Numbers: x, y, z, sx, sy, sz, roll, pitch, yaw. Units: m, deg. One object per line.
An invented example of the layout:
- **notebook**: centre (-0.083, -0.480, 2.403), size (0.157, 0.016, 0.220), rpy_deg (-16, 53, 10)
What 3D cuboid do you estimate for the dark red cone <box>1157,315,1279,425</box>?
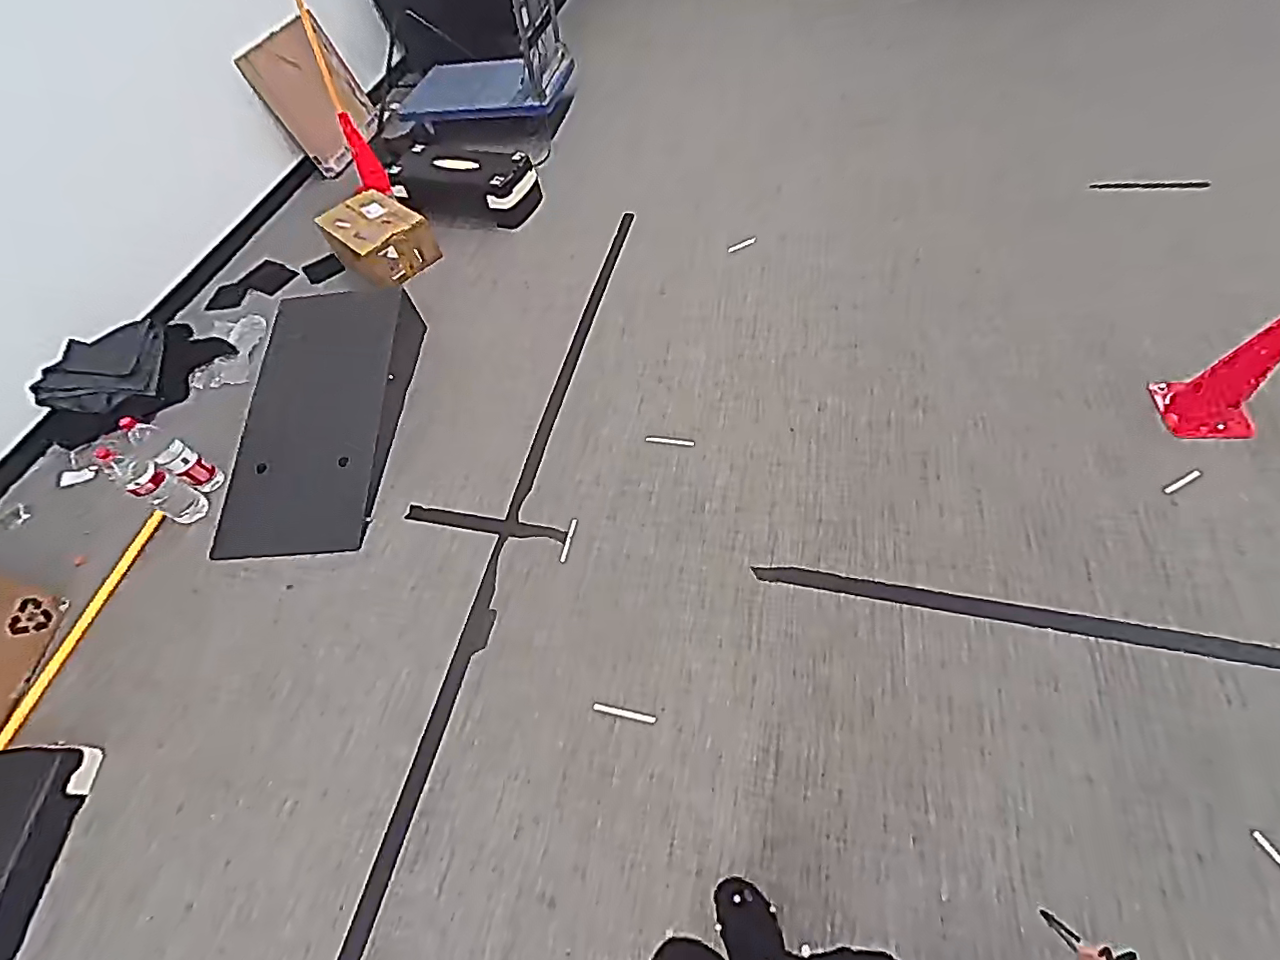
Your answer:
- **dark red cone**: centre (1.530, -0.315, 1.339), size (0.202, 0.394, 0.201), rpy_deg (0, 58, 9)
